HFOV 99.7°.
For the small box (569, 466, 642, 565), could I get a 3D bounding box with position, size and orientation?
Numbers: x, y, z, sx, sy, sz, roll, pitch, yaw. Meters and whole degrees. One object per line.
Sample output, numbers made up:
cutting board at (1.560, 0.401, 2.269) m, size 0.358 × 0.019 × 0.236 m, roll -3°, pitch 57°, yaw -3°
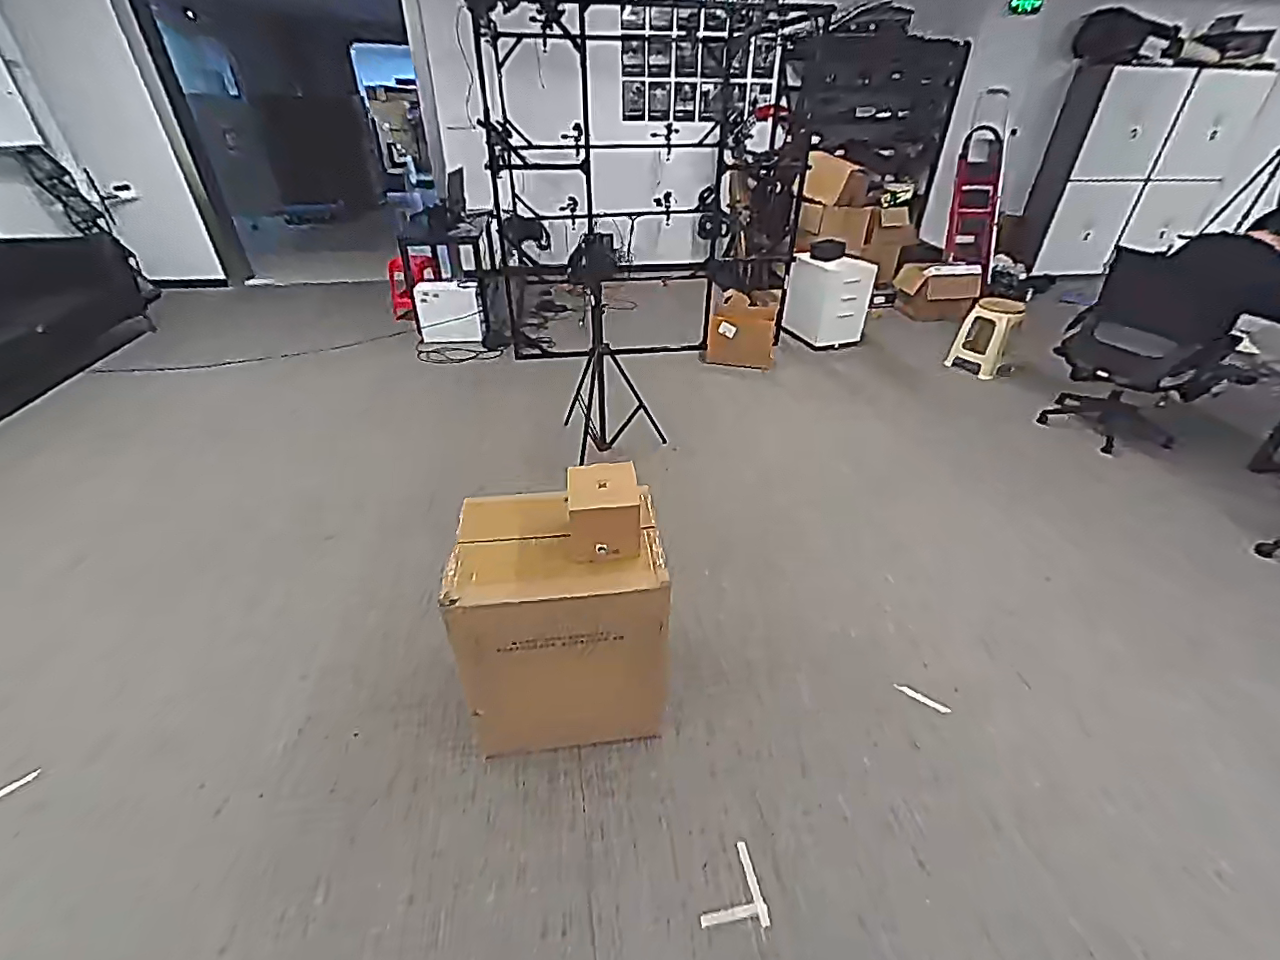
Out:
small box at (-0.087, 0.085, 1.329) m, size 0.168 × 0.176 × 0.179 m, roll -6°, pitch 37°, yaw -5°
